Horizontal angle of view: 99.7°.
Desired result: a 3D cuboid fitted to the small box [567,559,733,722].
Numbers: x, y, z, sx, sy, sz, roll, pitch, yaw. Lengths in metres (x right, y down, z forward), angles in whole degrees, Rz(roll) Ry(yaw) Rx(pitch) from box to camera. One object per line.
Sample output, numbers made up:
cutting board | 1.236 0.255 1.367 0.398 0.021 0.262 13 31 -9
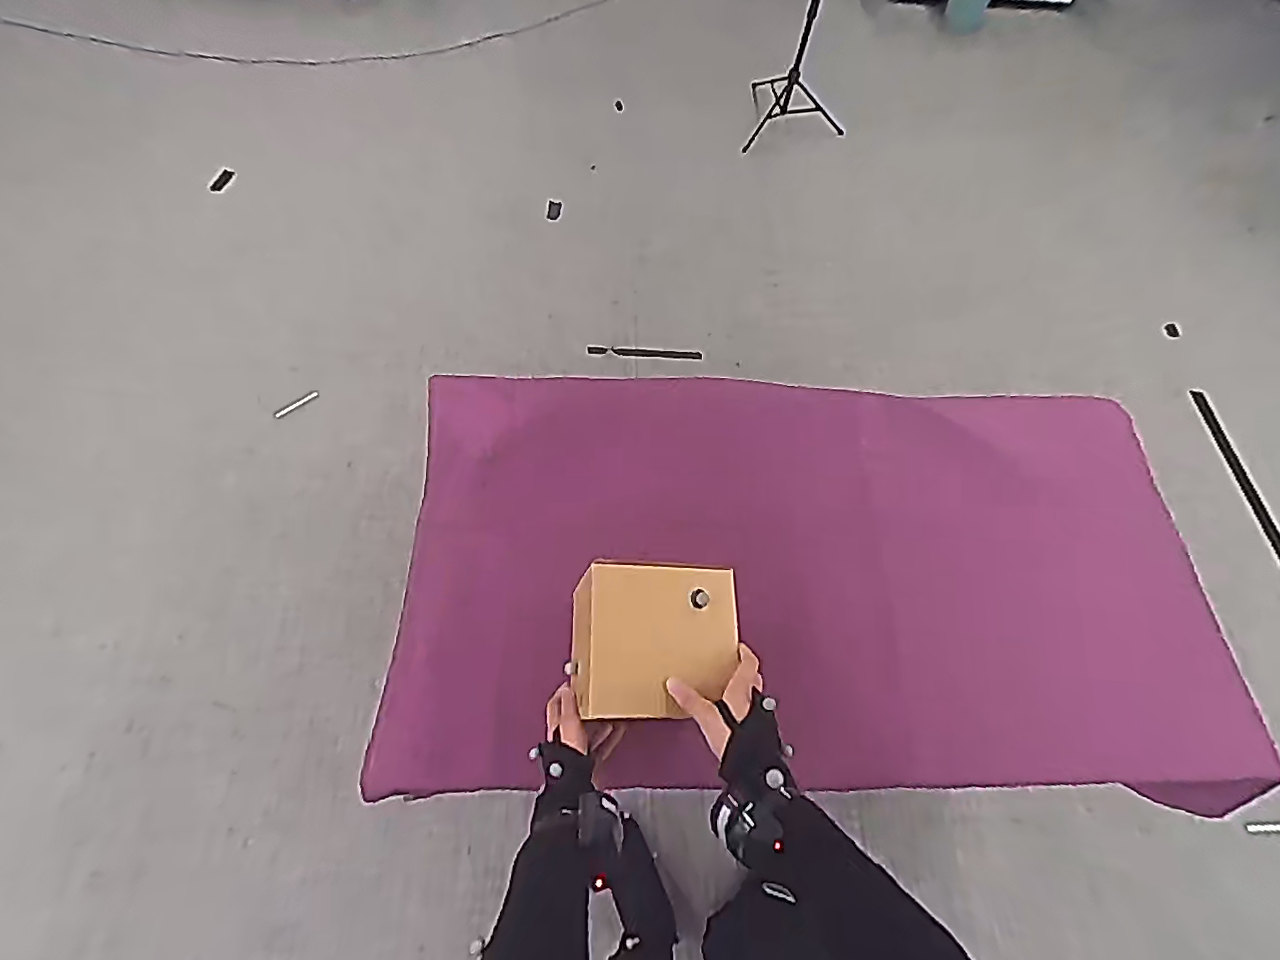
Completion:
small box | 0.007 0.205 0.671 0.179 0.168 0.176 5 65 -13
